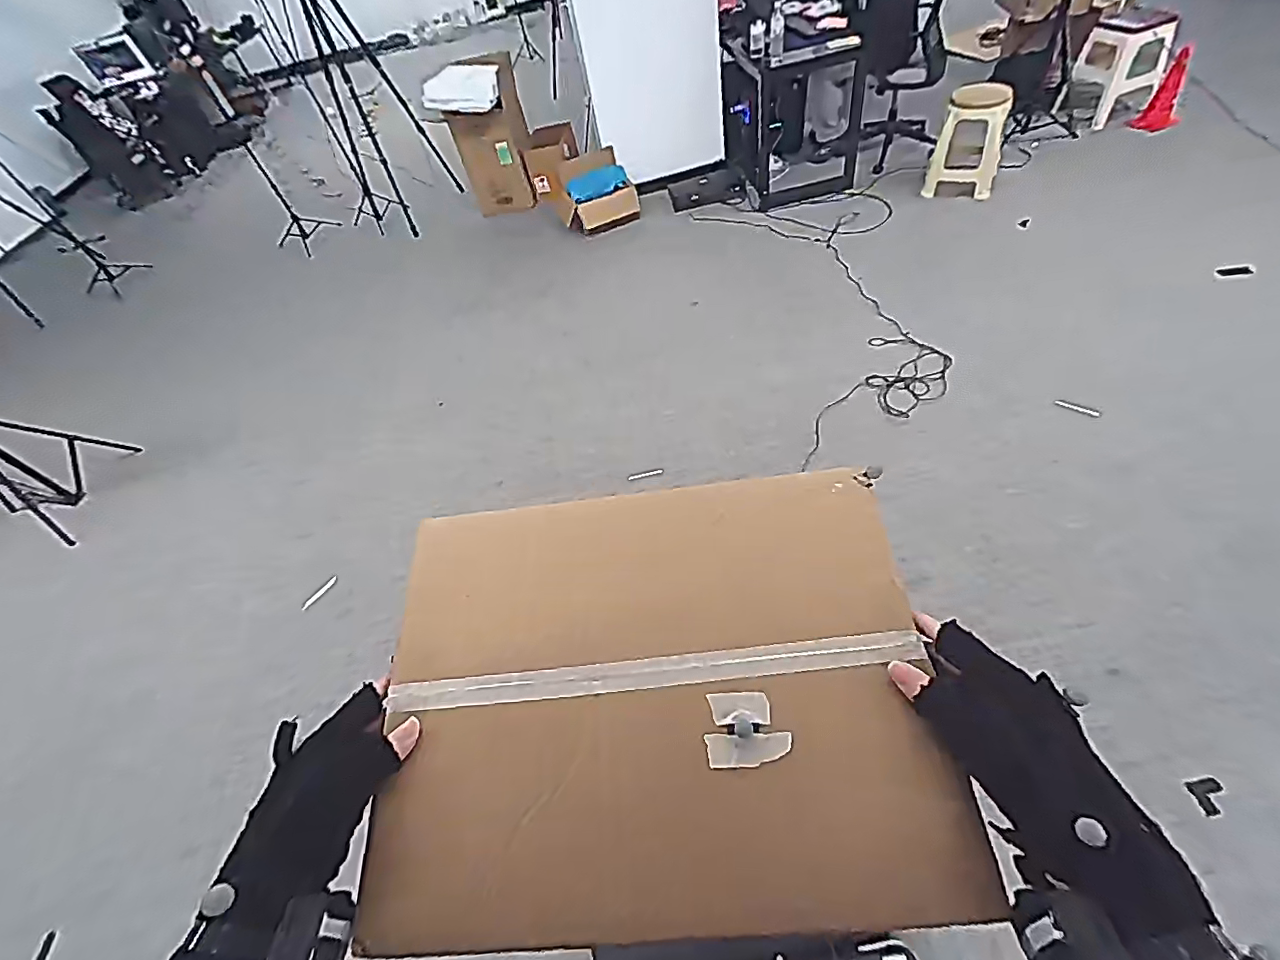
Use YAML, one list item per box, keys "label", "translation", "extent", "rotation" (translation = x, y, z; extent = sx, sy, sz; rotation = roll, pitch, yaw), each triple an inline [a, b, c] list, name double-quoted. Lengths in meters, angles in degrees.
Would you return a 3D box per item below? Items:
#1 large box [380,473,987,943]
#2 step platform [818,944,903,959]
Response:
- label: "large box"
  translation: [0.027, 0.226, 0.549]
  extent: [0.408, 0.320, 0.320]
  rotation: [-7, 59, 4]
- label: "step platform"
  translation: [0.227, 1.130, 1.029]
  extent: [0.684, 0.204, 0.286]
  rotation: [-15, 49, 3]
